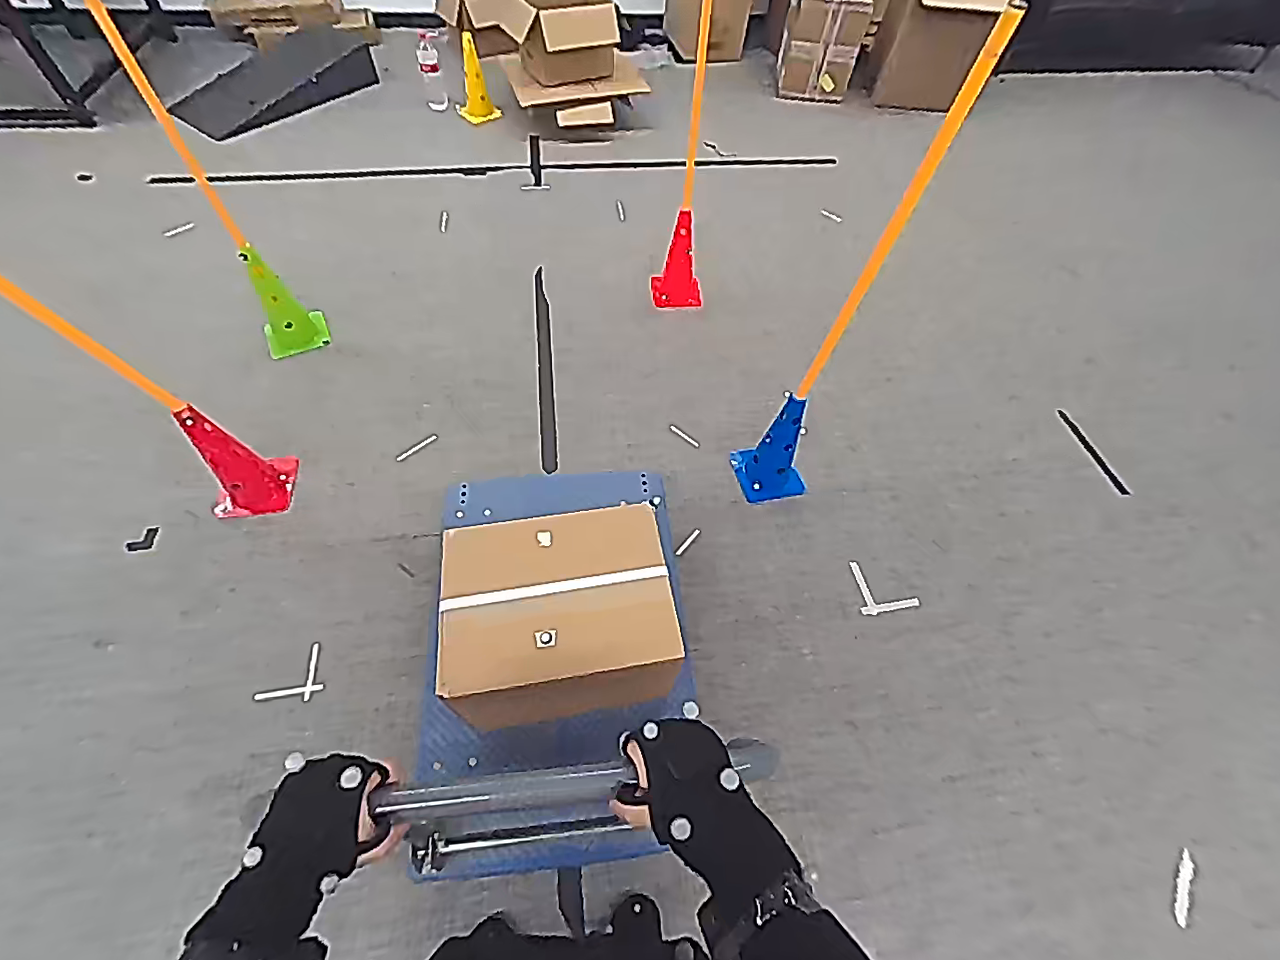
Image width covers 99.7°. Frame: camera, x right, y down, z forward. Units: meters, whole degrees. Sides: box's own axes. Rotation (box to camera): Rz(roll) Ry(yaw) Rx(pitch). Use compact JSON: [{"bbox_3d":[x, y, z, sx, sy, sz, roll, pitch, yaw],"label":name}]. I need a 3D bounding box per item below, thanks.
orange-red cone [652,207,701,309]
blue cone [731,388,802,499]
[{"bbox_3d":[0.158,-0.860,2.061,0.199,0.360,0.198,1,57,-4],"label":"orange-red cone"},{"bbox_3d":[0.412,-0.119,1.596,0.193,0.380,0.192,-8,56,-9],"label":"blue cone"}]
